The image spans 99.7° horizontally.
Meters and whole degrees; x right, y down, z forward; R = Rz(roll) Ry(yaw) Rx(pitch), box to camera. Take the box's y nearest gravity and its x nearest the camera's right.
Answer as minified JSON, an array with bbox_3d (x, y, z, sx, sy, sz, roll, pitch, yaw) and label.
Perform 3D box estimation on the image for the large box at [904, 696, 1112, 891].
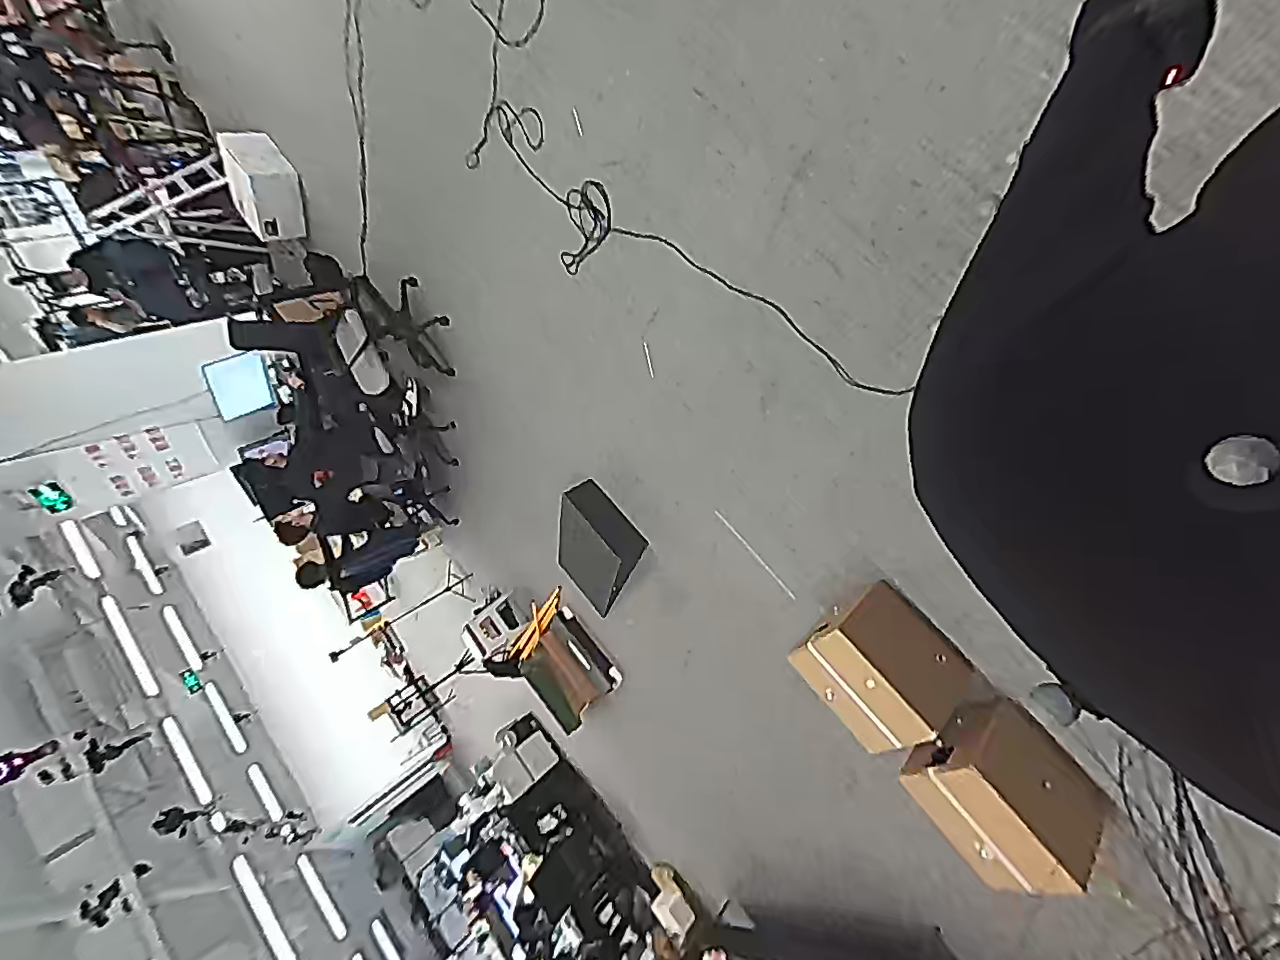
[{"bbox_3d":[1.132,0.960,1.681,0.408,0.320,0.320,49,144,12],"label":"large box"}]
